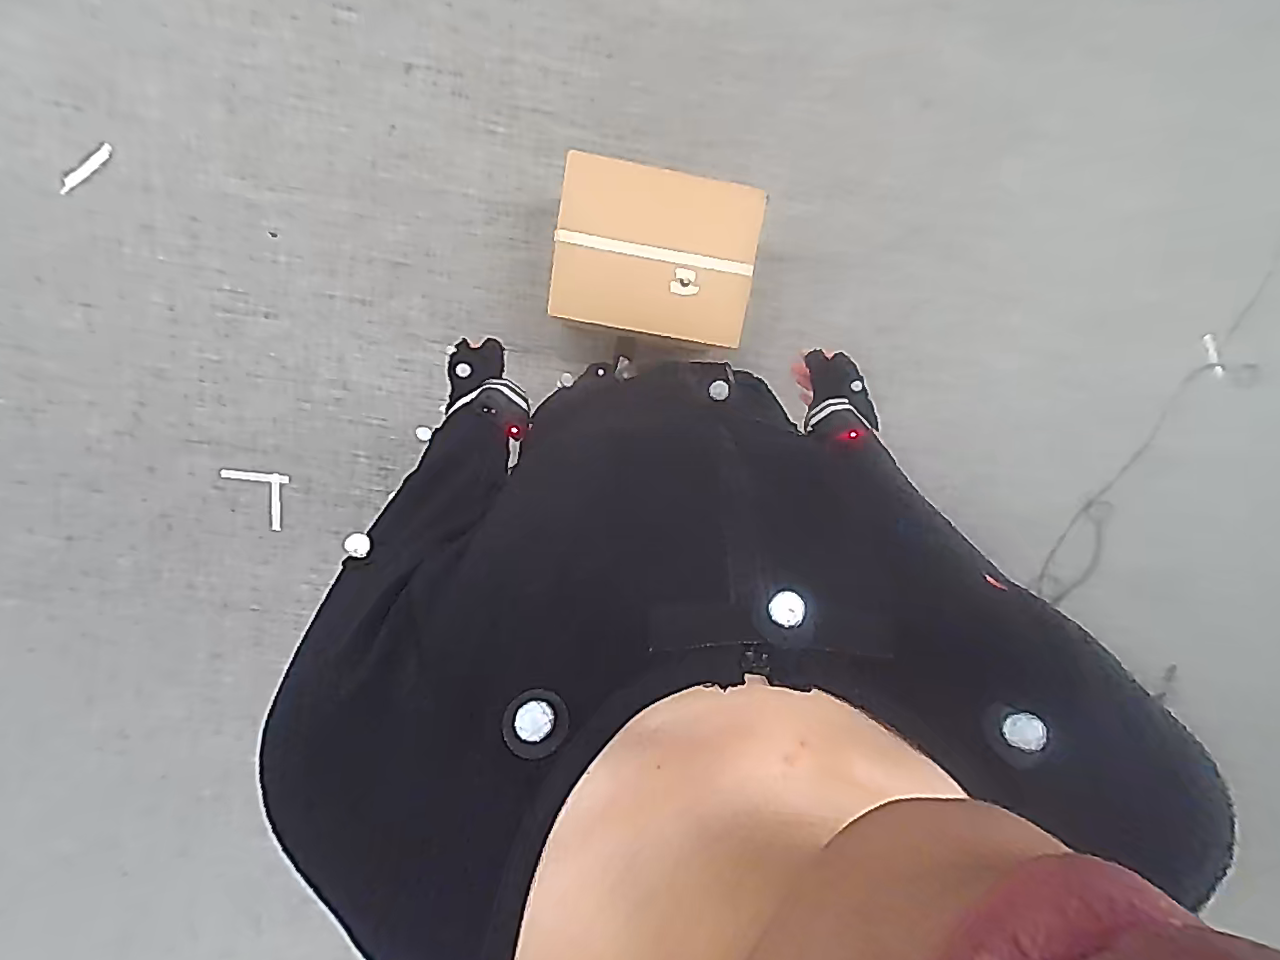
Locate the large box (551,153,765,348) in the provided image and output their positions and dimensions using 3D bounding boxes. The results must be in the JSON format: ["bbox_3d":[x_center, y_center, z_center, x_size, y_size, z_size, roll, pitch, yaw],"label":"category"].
[{"bbox_3d":[0.022,-0.489,1.233,0.408,0.320,0.320,8,102,-6],"label":"large box"}]
